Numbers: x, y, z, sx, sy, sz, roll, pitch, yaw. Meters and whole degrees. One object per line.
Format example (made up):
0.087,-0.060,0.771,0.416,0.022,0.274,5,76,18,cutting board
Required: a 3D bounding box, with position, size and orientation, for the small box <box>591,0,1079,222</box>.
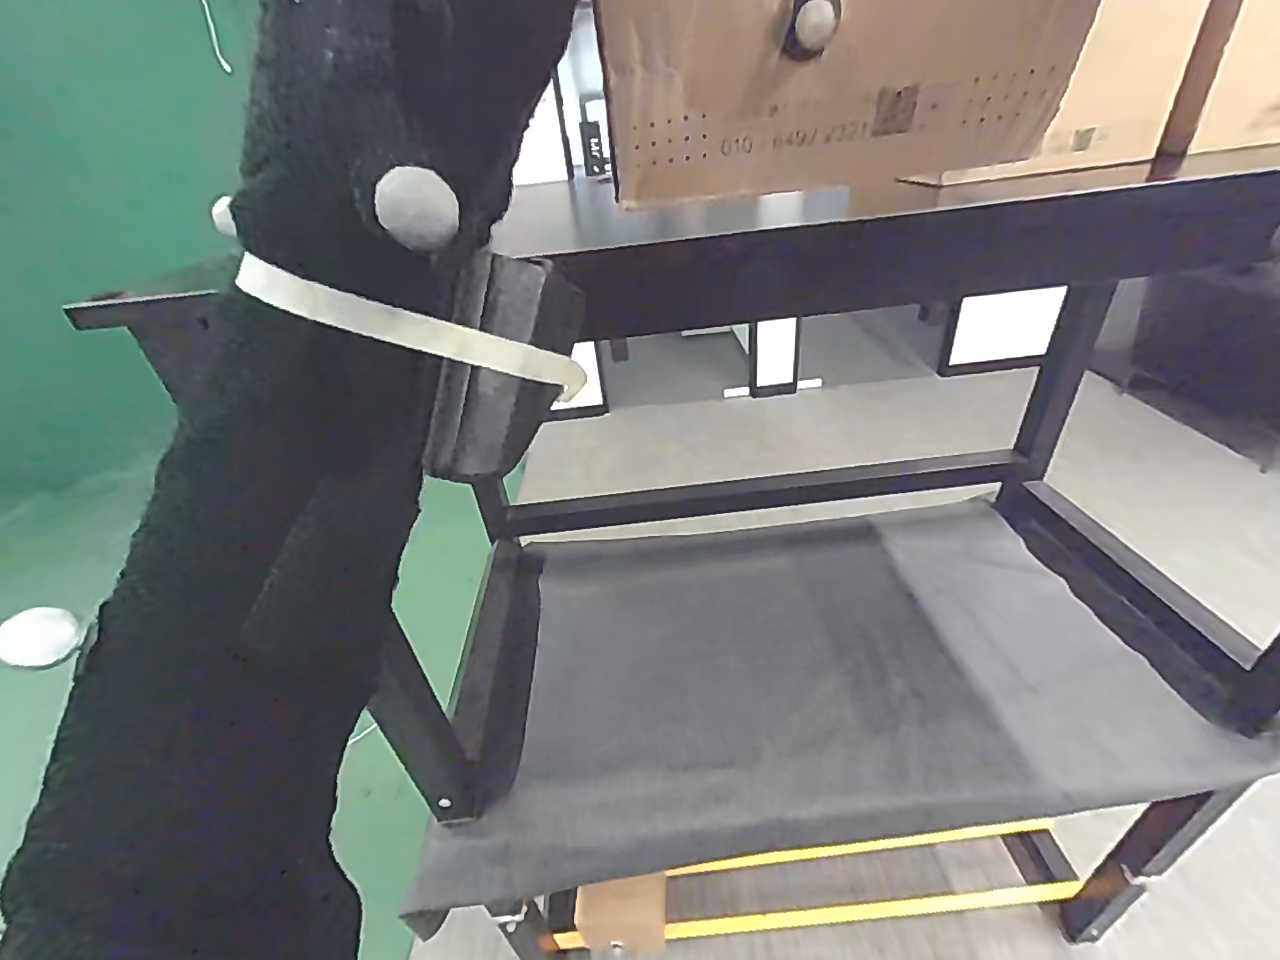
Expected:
0.061,-0.230,0.219,0.168,0.176,0.179,-7,50,2,small box
